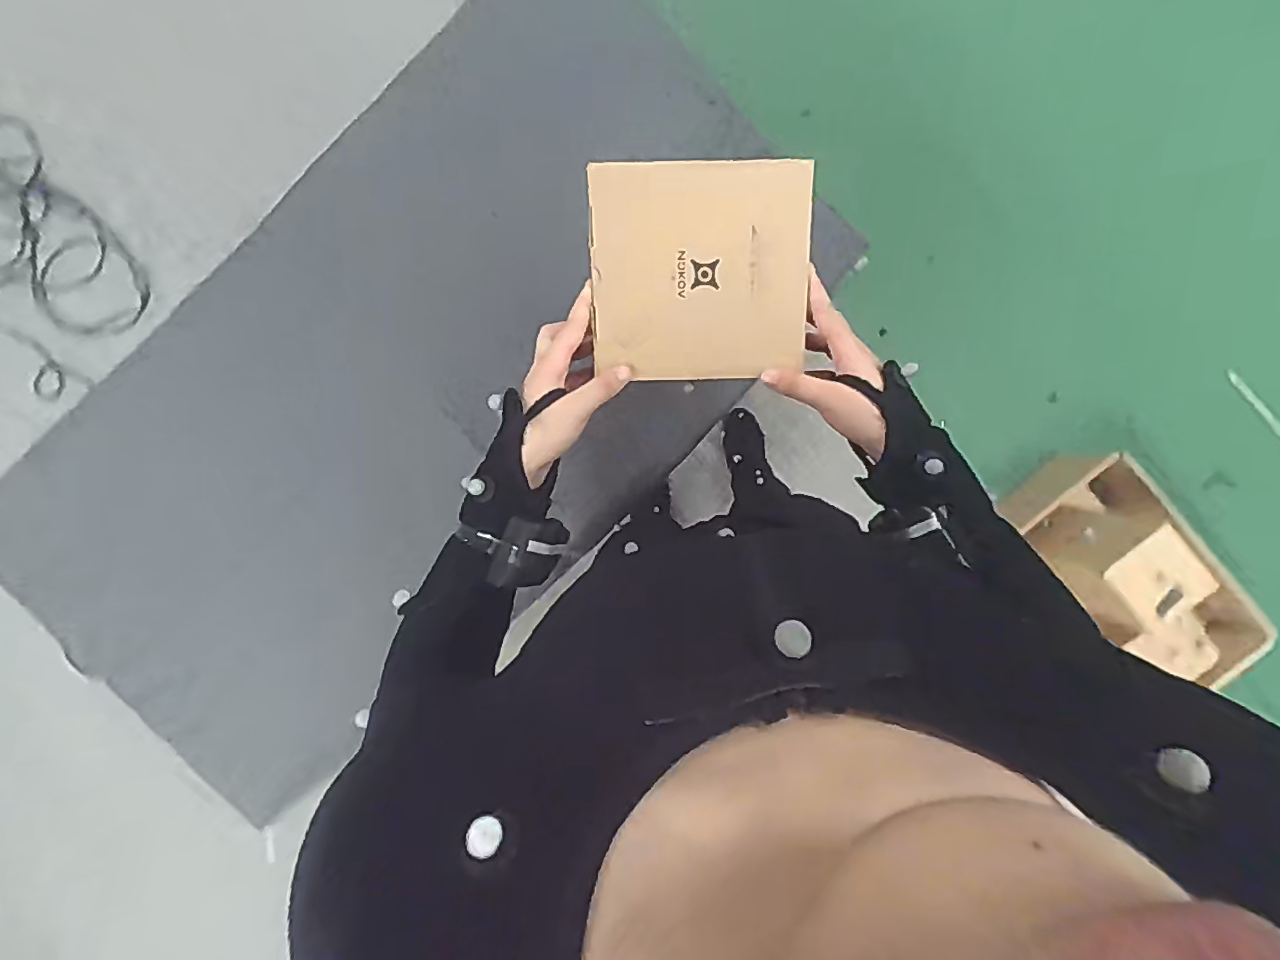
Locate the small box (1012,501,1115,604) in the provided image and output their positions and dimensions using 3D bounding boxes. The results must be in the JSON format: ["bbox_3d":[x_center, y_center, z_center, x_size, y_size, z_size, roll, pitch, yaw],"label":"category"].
[{"bbox_3d":[1.072,0.166,1.323,0.168,0.176,0.179,-42,94,5],"label":"small box"}]

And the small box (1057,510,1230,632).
[{"bbox_3d":[1.065,0.184,1.160,0.168,0.176,0.179,-41,93,4],"label":"small box"}]

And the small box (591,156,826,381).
[{"bbox_3d":[0.052,-0.176,0.494,0.179,0.176,0.168,-1,104,-1],"label":"small box"}]
